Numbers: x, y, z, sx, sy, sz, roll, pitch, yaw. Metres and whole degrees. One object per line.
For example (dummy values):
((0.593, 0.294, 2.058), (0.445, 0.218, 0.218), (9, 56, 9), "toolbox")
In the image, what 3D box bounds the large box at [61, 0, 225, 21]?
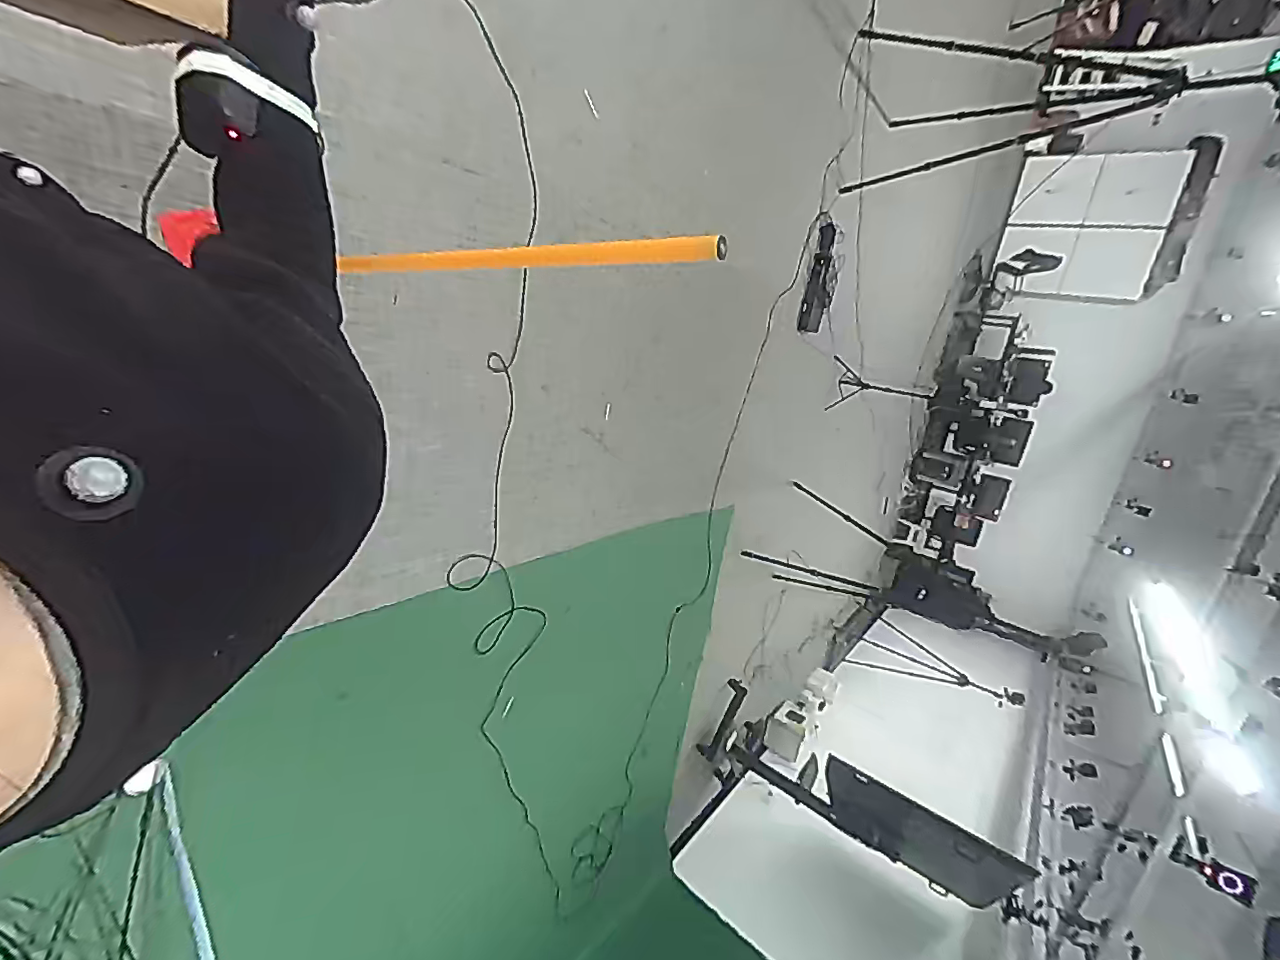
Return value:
((-0.514, -0.519, 0.286), (0.408, 0.320, 0.320), (-12, 124, -50), "large box")
